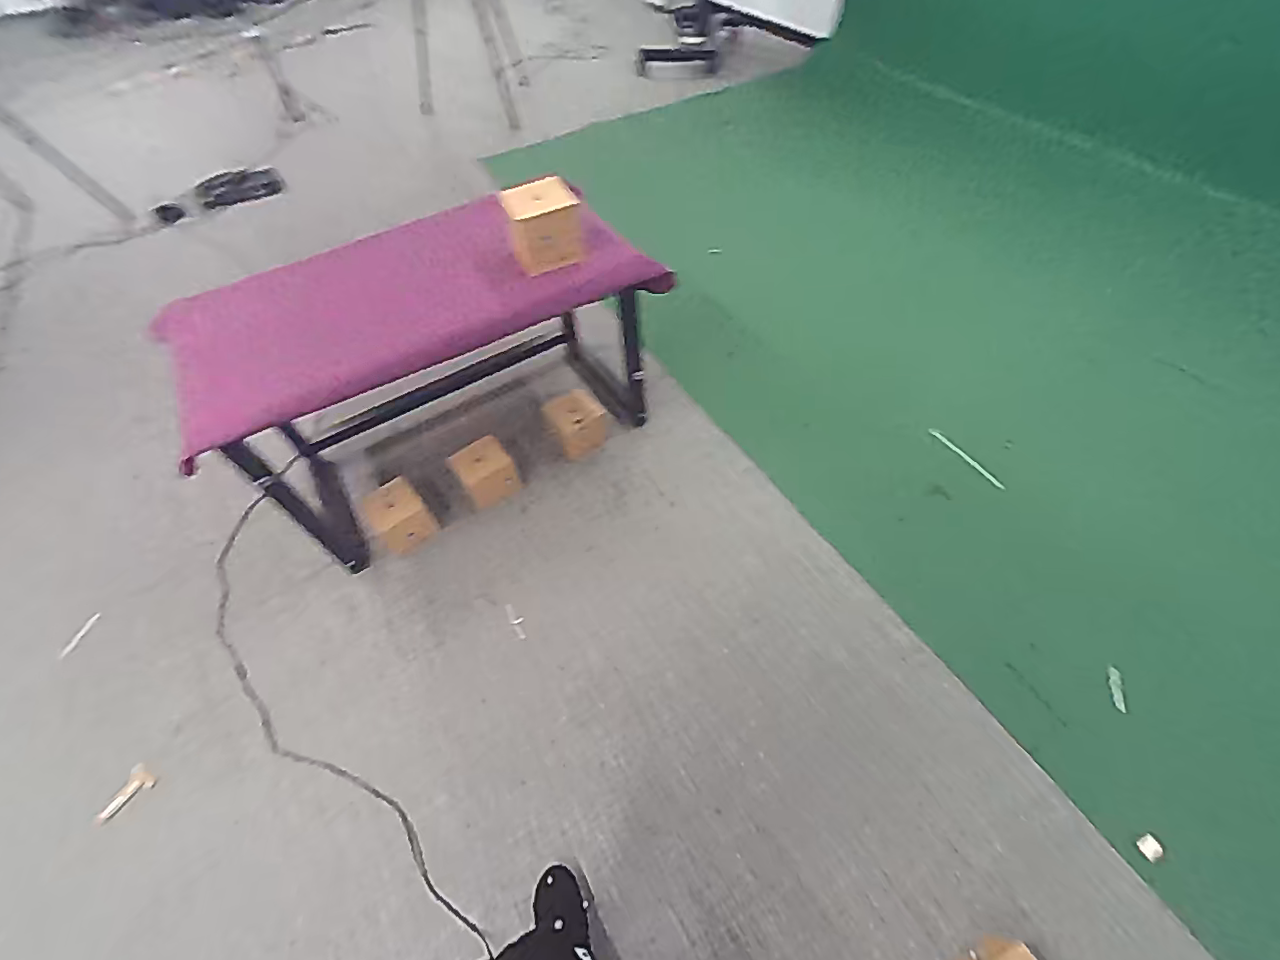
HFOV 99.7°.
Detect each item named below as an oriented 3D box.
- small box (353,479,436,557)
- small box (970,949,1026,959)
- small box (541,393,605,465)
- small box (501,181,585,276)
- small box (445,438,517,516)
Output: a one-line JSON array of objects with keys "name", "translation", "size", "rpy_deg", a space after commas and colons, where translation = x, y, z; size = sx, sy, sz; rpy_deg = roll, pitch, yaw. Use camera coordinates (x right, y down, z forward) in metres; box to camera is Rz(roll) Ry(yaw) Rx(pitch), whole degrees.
[{"name": "small box", "translation": [-0.819, 0.137, 1.819], "size": [0.168, 0.176, 0.179], "rpy_deg": [-35, 59, -21]}, {"name": "small box", "translation": [0.712, 1.061, 1.048], "size": [0.179, 0.176, 0.168], "rpy_deg": [-26, 57, -17]}, {"name": "small box", "translation": [-0.247, -0.190, 2.031], "size": [0.168, 0.176, 0.179], "rpy_deg": [-33, 58, -20]}, {"name": "small box", "translation": [-0.264, -0.689, 1.500], "size": [0.168, 0.176, 0.179], "rpy_deg": [-23, 54, -12]}, {"name": "small box", "translation": [-0.553, -0.009, 1.914], "size": [0.179, 0.176, 0.168], "rpy_deg": [-34, 58, -19]}]
